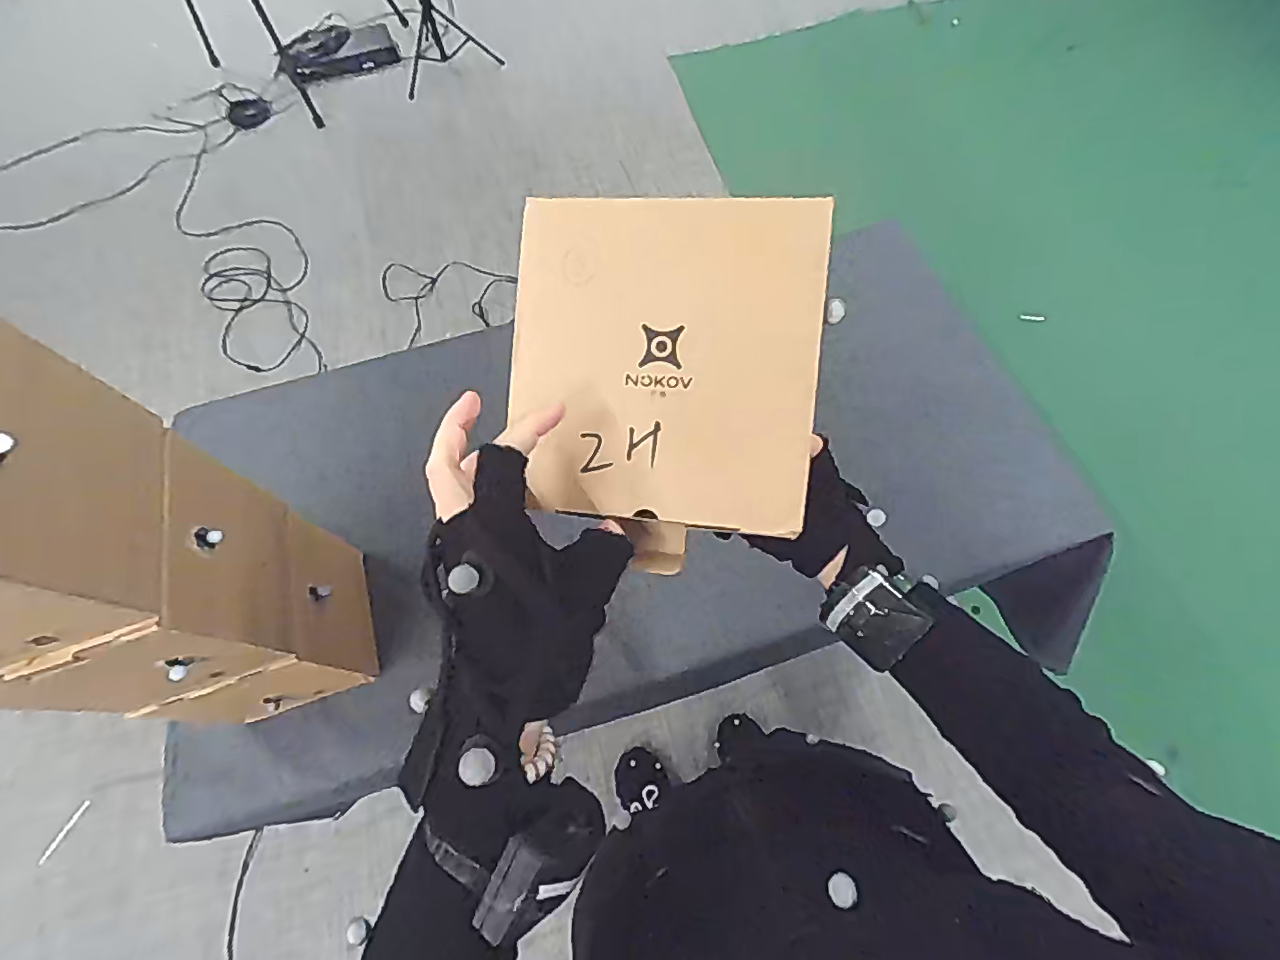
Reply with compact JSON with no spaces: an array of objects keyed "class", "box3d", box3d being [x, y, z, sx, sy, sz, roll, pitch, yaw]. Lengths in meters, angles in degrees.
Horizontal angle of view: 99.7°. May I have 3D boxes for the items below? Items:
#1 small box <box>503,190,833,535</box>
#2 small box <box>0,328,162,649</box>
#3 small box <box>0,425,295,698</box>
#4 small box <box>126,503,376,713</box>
[{"class":"small box","box3d":[0.024,-0.069,0.368,0.168,0.176,0.179,6,94,11]},{"class":"small box","box3d":[-0.446,0.010,0.335,0.168,0.176,0.179,-18,66,-7]},{"class":"small box","box3d":[-0.438,0.084,0.480,0.168,0.176,0.179,-17,66,-6]},{"class":"small box","box3d":[-0.432,0.155,0.627,0.168,0.176,0.179,-18,66,-6]}]
